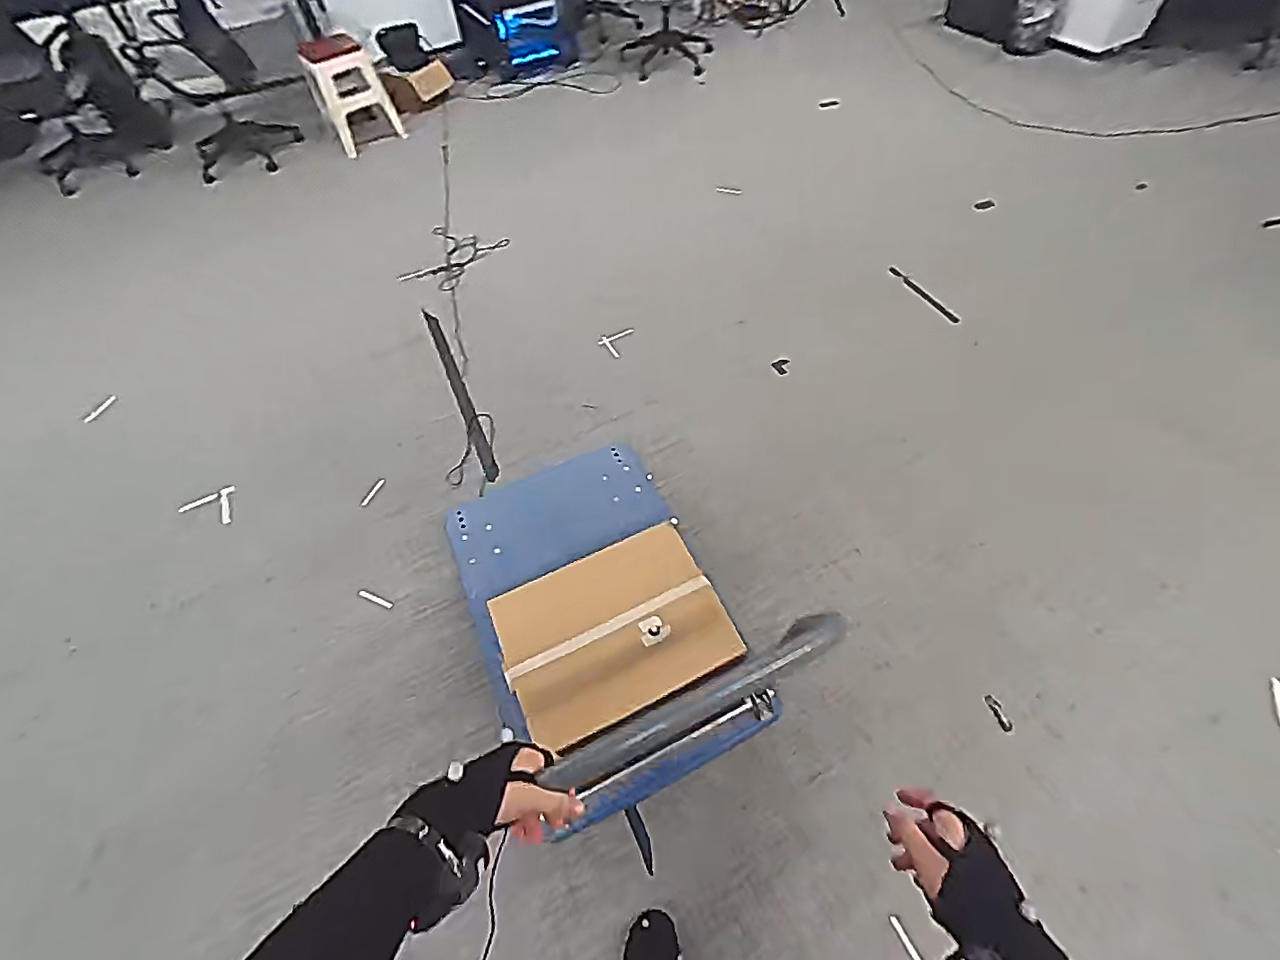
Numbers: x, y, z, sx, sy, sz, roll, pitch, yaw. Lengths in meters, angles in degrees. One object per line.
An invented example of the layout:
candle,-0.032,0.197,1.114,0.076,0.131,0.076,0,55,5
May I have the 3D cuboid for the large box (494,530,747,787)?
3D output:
large box,-0.037,0.377,1.135,0.408,0.320,0.320,-23,57,-12
